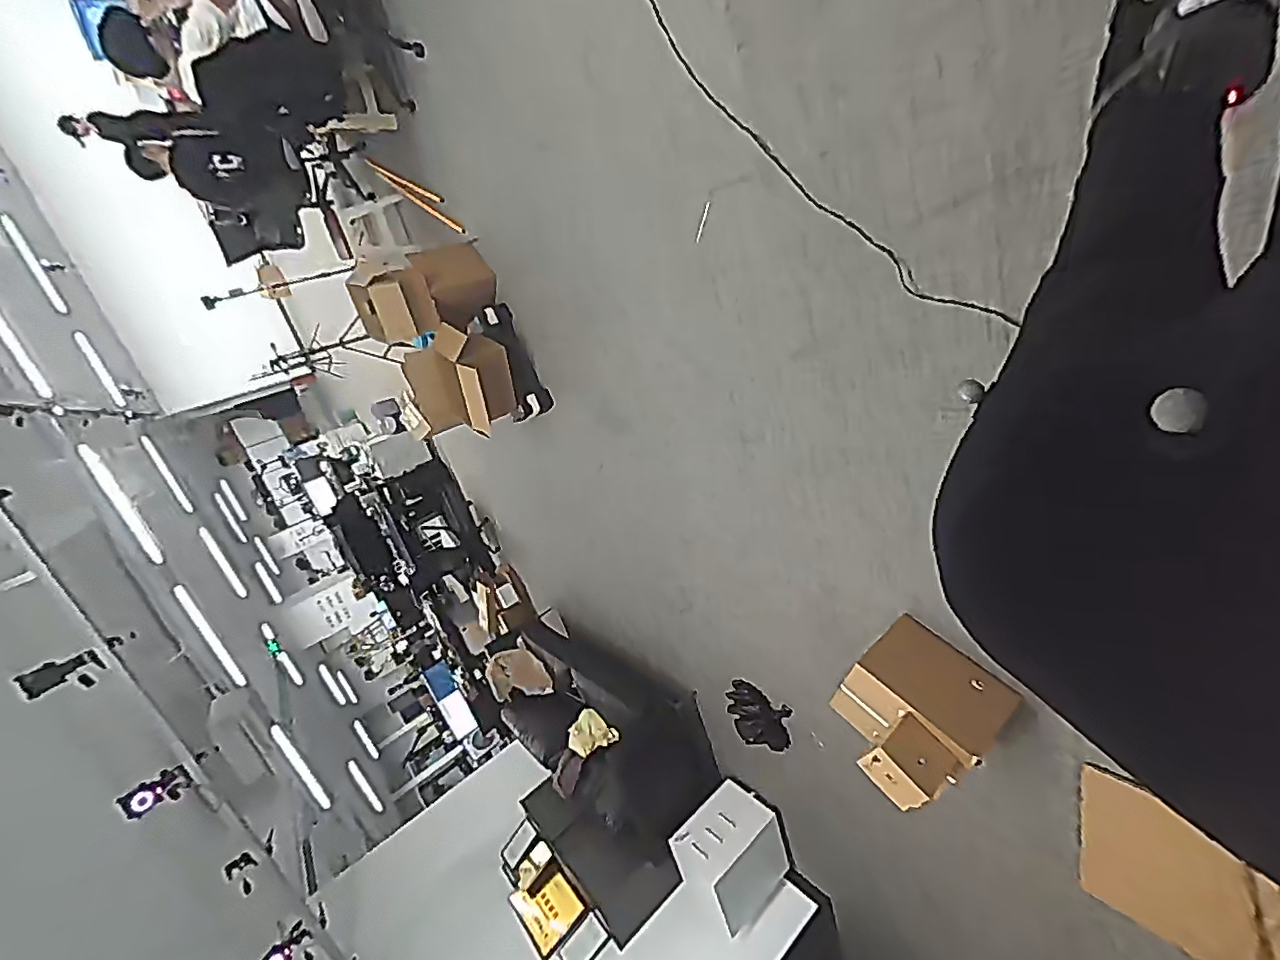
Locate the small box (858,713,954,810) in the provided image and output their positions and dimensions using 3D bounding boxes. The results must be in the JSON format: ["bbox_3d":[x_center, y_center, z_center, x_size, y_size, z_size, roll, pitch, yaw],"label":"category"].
[{"bbox_3d":[0.805,0.848,1.635,0.179,0.176,0.168,43,146,29],"label":"small box"}]
